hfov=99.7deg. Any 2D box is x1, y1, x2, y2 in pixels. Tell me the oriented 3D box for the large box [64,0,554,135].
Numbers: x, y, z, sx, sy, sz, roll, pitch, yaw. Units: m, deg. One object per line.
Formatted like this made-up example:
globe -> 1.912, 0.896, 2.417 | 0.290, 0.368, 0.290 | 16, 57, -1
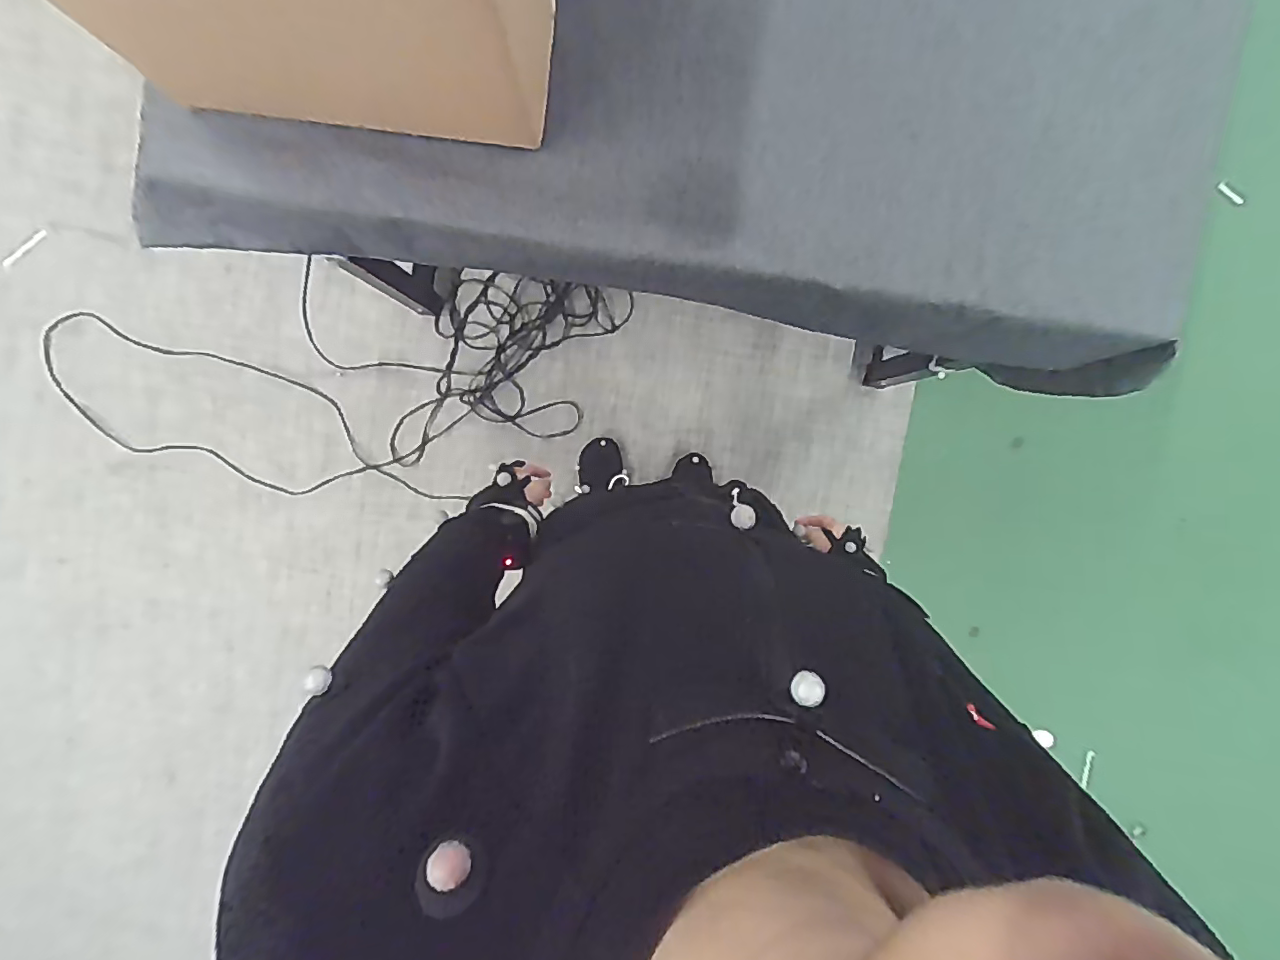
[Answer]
large box -> -0.285, -0.541, 0.442 | 0.408, 0.320, 0.320 | 5, 94, -3
